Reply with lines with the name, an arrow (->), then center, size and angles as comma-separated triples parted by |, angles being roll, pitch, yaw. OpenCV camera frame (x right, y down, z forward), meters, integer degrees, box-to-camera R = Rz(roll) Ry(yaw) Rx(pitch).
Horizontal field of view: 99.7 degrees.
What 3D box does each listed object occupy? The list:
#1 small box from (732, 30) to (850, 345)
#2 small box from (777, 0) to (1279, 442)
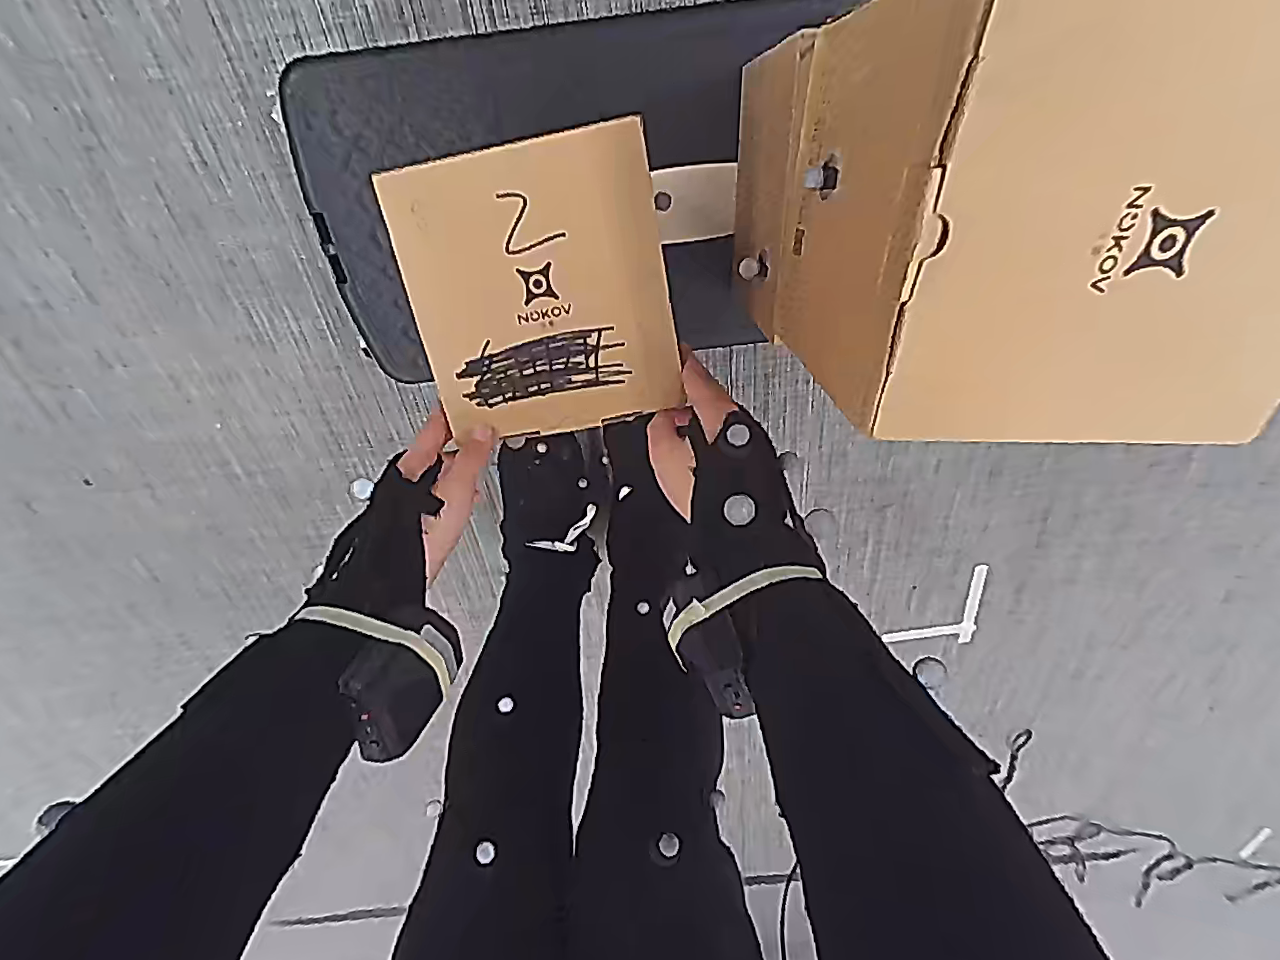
small box -> 0.166, -0.213, 0.405 | 0.168, 0.176, 0.179 | -3, 121, -1
small box -> 0.183, -0.130, 0.265 | 0.179, 0.176, 0.168 | 0, 122, -1
